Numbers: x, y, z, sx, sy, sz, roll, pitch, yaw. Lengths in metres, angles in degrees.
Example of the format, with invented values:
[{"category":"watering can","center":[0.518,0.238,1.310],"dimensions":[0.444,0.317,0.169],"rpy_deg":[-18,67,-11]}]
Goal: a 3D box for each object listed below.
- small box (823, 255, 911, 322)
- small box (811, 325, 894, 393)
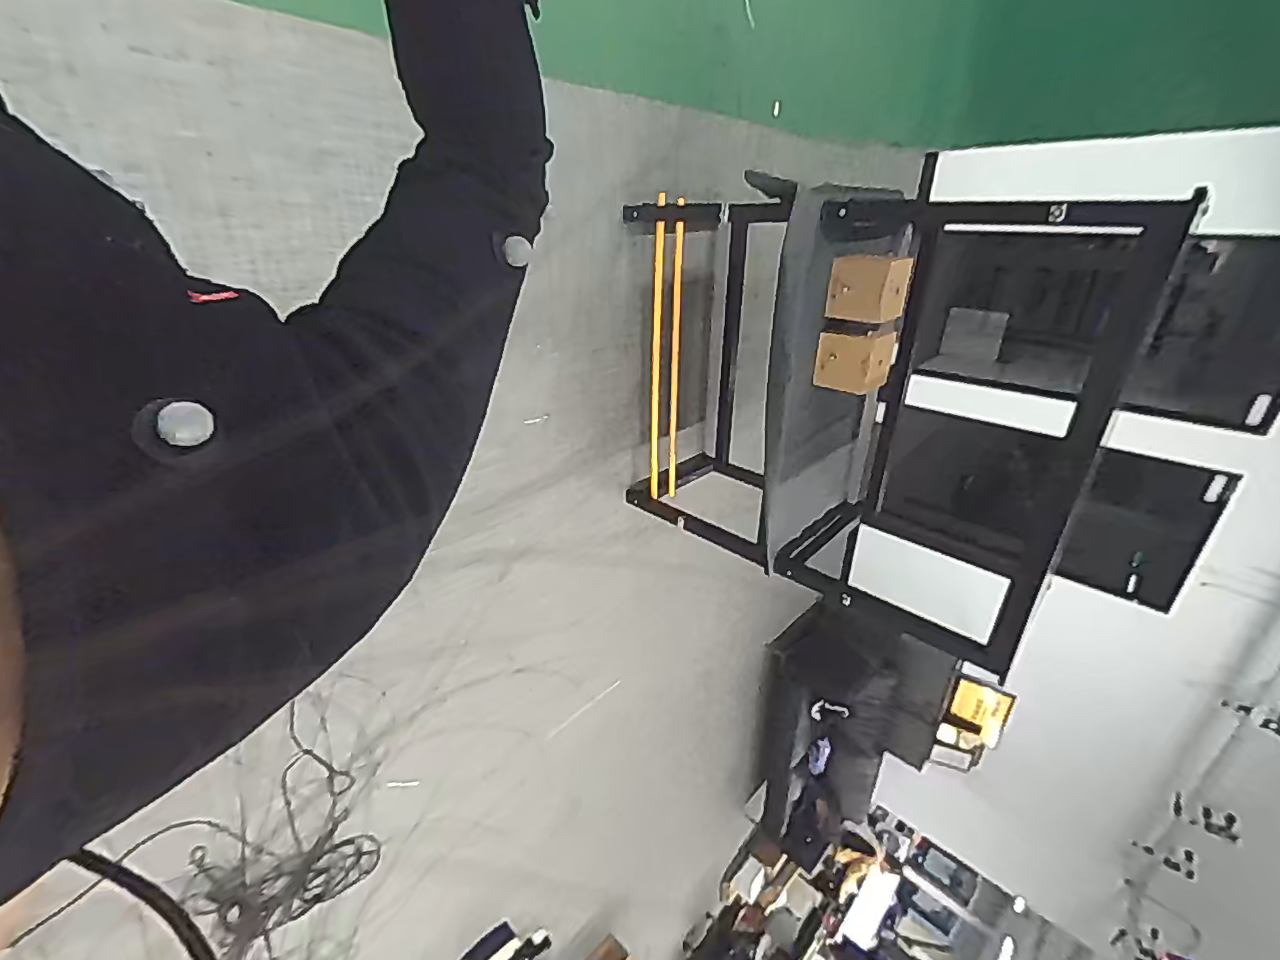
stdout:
[{"category":"small box","center":[0.669,-0.571,1.598],"dimensions":[0.179,0.176,0.168],"rpy_deg":[-25,126,-40]},{"category":"small box","center":[0.660,-0.384,1.688],"dimensions":[0.179,0.176,0.168],"rpy_deg":[-25,126,-41]}]
